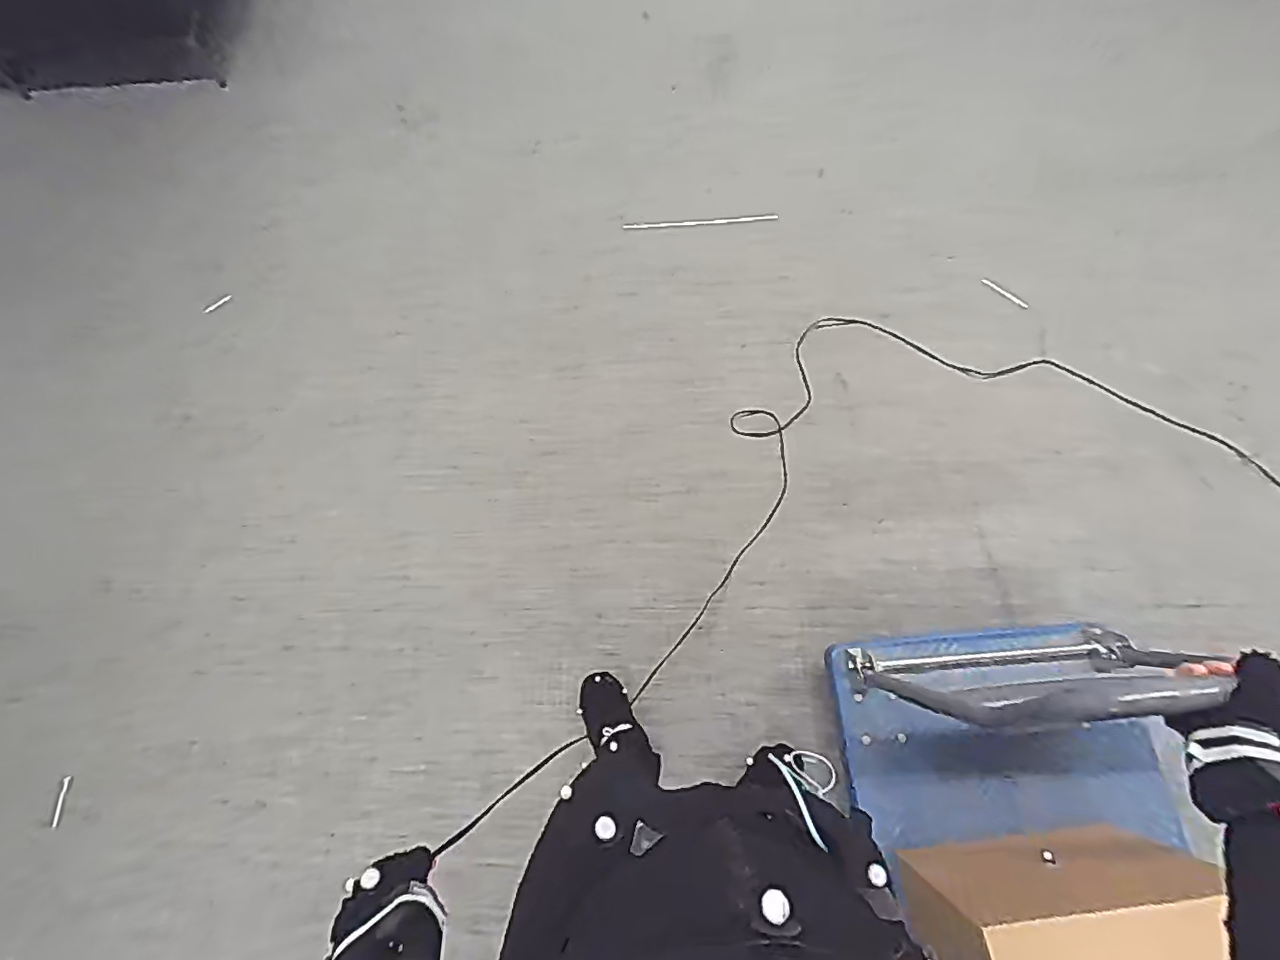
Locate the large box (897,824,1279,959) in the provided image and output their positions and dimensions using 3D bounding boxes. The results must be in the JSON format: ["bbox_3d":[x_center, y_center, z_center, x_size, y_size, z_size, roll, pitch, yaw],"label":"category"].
[{"bbox_3d":[0.681,0.760,0.813,0.408,0.320,0.320,-9,72,0],"label":"large box"}]
